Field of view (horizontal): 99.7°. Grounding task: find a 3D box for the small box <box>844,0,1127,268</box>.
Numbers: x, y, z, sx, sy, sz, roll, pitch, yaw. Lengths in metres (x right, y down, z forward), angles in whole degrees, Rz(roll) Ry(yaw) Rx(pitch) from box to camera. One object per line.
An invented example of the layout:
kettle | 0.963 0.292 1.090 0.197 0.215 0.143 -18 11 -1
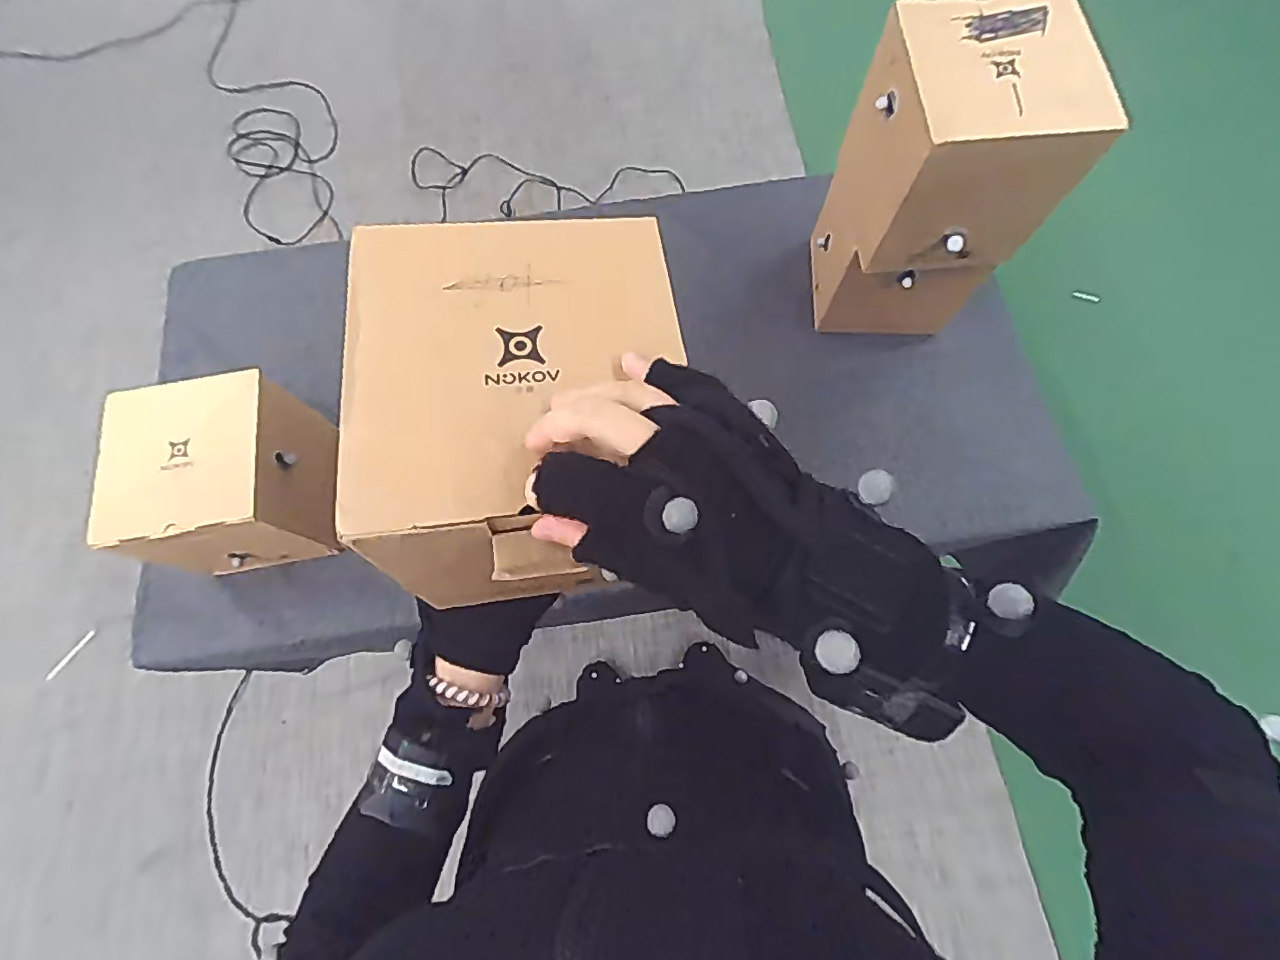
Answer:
small box | 0.325 -0.347 0.554 0.168 0.176 0.179 -3 73 1

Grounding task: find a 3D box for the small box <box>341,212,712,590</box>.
small box | -0.064 -0.034 0.339 0.168 0.176 0.179 -6 68 -9

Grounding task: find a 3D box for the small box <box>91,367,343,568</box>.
small box | -0.475 -0.006 0.639 0.168 0.176 0.179 -11 72 -2

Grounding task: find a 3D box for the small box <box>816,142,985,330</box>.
small box | 0.338 -0.314 0.715 0.179 0.176 0.168 3 73 3
